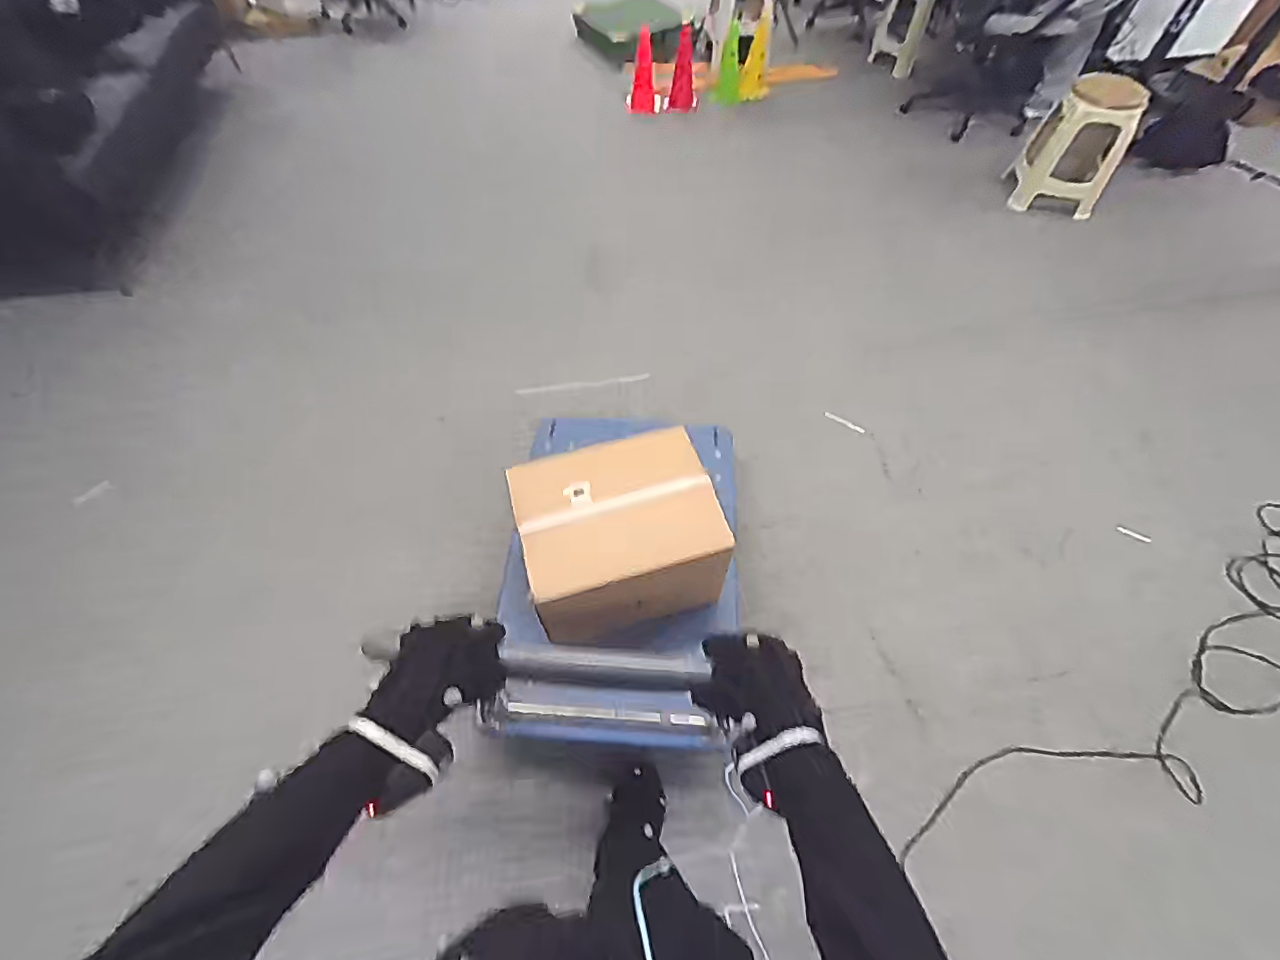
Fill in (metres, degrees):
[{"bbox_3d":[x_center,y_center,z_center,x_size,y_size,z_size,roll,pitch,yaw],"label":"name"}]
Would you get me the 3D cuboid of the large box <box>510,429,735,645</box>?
[{"bbox_3d":[-0.043,0.136,1.231,0.408,0.320,0.320,-15,58,-9],"label":"large box"}]
